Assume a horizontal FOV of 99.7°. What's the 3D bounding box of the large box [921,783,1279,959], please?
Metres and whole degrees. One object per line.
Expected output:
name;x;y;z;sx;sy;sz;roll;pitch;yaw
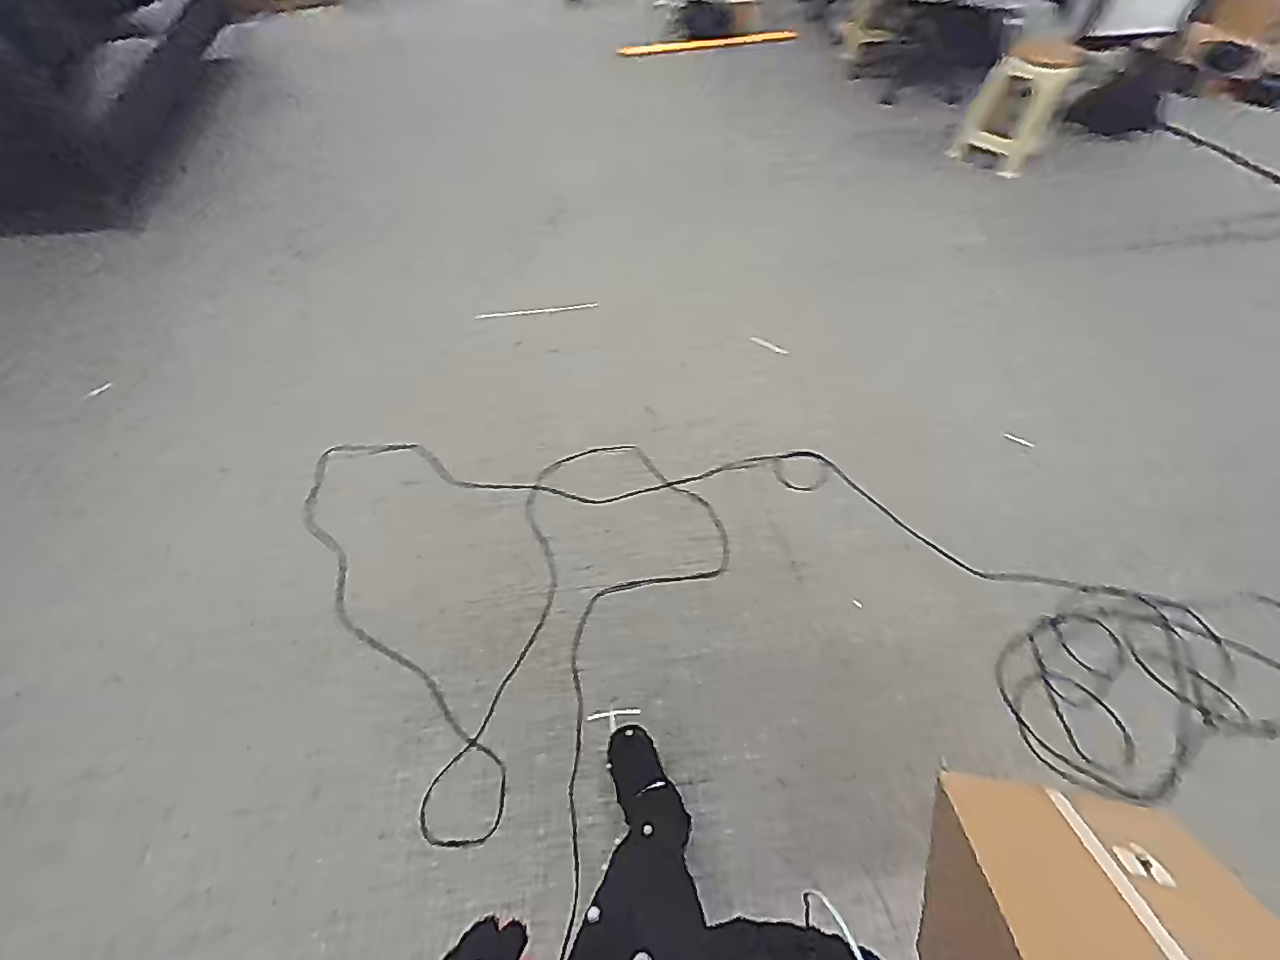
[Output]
large box;0.567;0.661;0.657;0.320;0.408;0.320;6;95;15
